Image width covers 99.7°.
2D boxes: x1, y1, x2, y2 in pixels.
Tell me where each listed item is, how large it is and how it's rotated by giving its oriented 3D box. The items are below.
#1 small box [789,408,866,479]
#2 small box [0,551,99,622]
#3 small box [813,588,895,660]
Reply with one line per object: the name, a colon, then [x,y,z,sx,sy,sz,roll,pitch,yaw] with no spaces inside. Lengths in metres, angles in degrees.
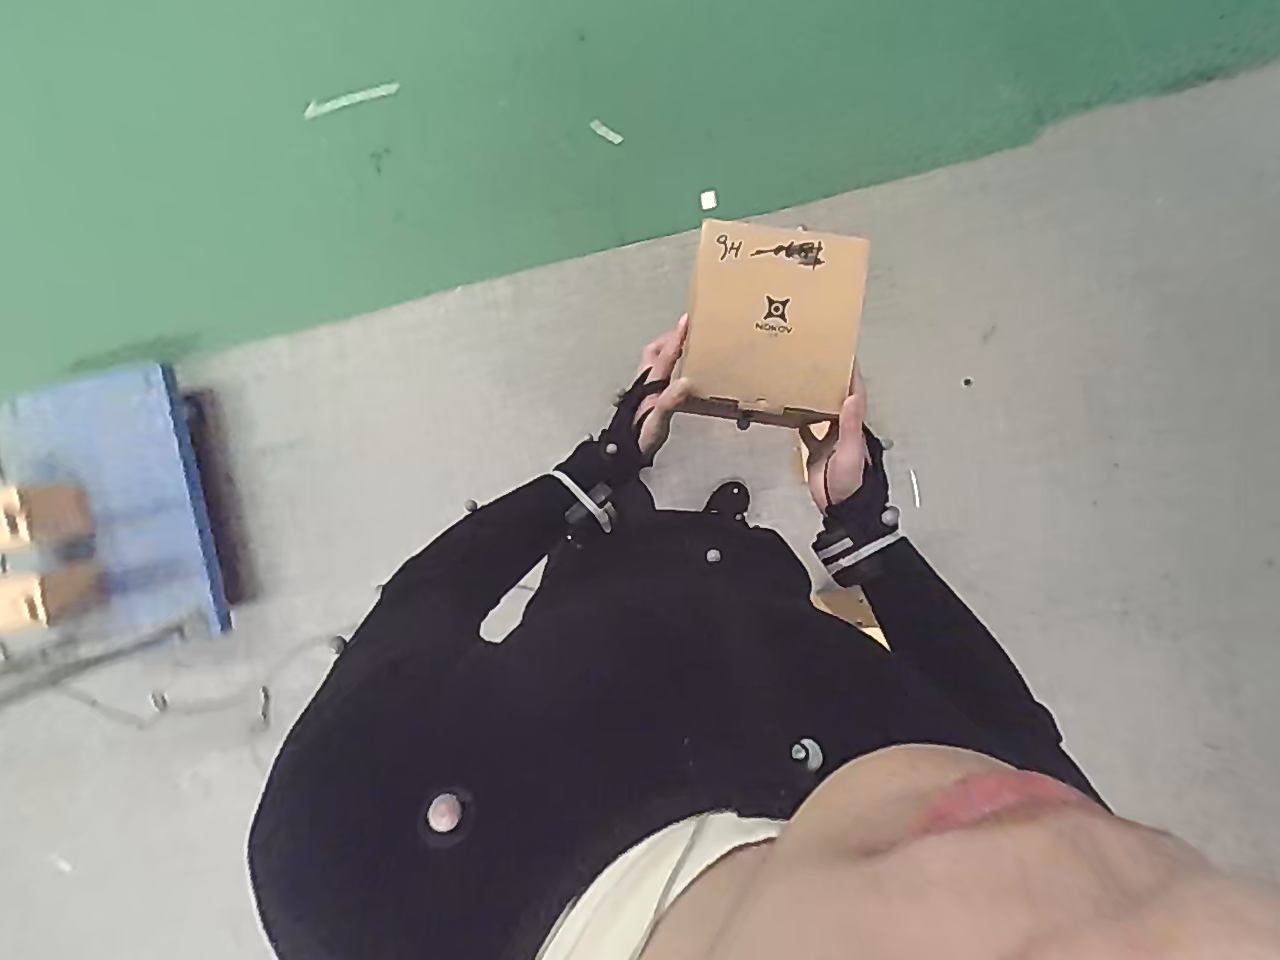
small box: [0.517,-0.100,1.508,0.168,0.176,0.179,-5,93,7]
small box: [-1.758,0.310,1.595,0.179,0.176,0.168,-8,92,7]
small box: [0.597,0.405,1.524,0.179,0.176,0.168,1,91,7]
